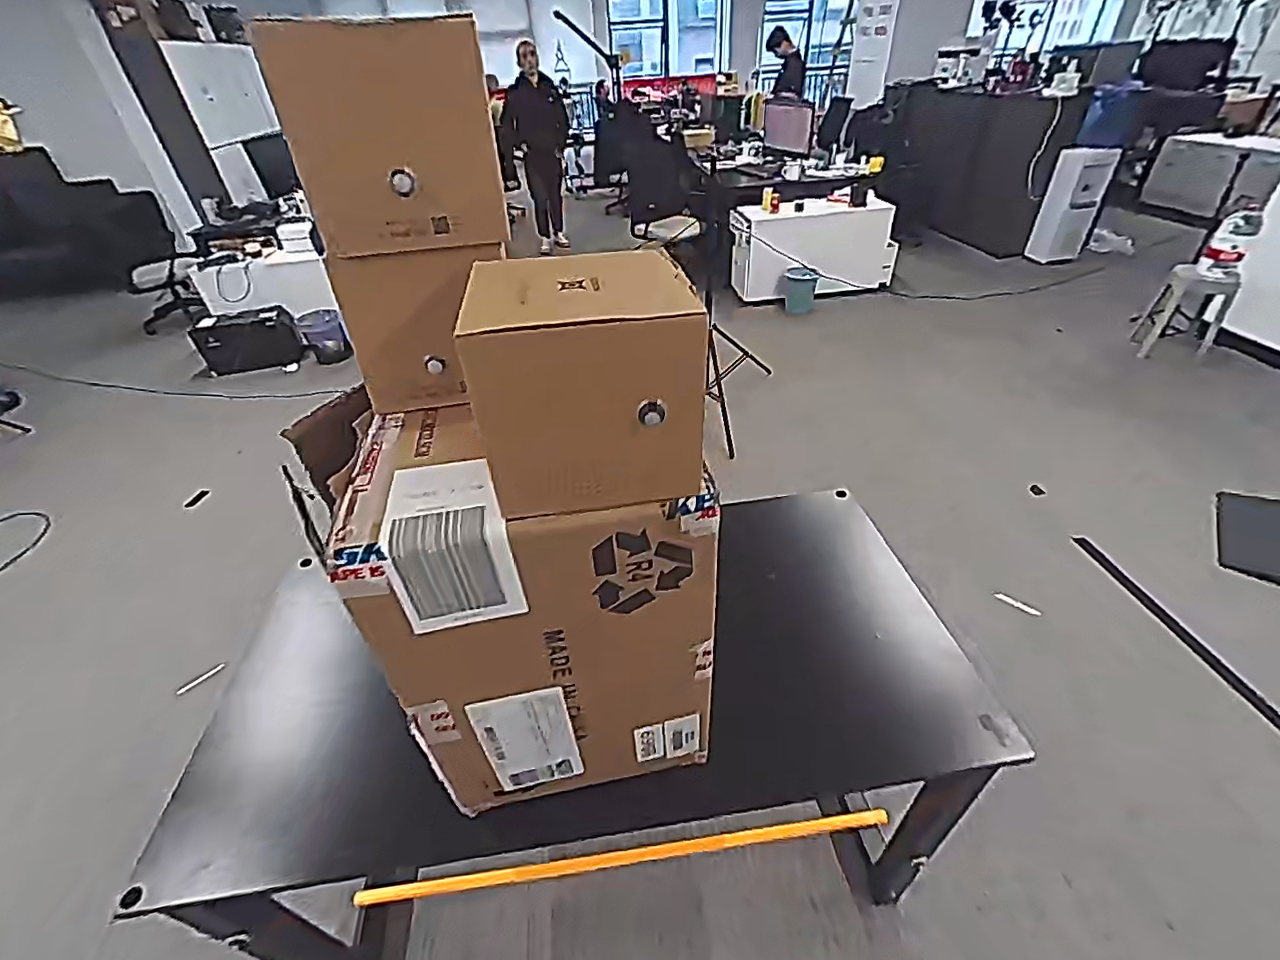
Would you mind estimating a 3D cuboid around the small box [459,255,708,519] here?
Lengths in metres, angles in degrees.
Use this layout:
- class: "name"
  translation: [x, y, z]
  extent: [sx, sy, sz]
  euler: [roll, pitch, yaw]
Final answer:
- class: "small box"
  translation: [-0.047, -0.086, 0.484]
  extent: [0.179, 0.176, 0.168]
  euler: [-8, 38, -6]

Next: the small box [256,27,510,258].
- class: "small box"
  translation: [-0.227, -0.326, 0.529]
  extent: [0.168, 0.176, 0.179]
  euler: [-11, 37, -10]

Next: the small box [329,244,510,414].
- class: "small box"
  translation: [-0.230, -0.196, 0.632]
  extent: [0.168, 0.176, 0.179]
  euler: [-9, 37, -9]
